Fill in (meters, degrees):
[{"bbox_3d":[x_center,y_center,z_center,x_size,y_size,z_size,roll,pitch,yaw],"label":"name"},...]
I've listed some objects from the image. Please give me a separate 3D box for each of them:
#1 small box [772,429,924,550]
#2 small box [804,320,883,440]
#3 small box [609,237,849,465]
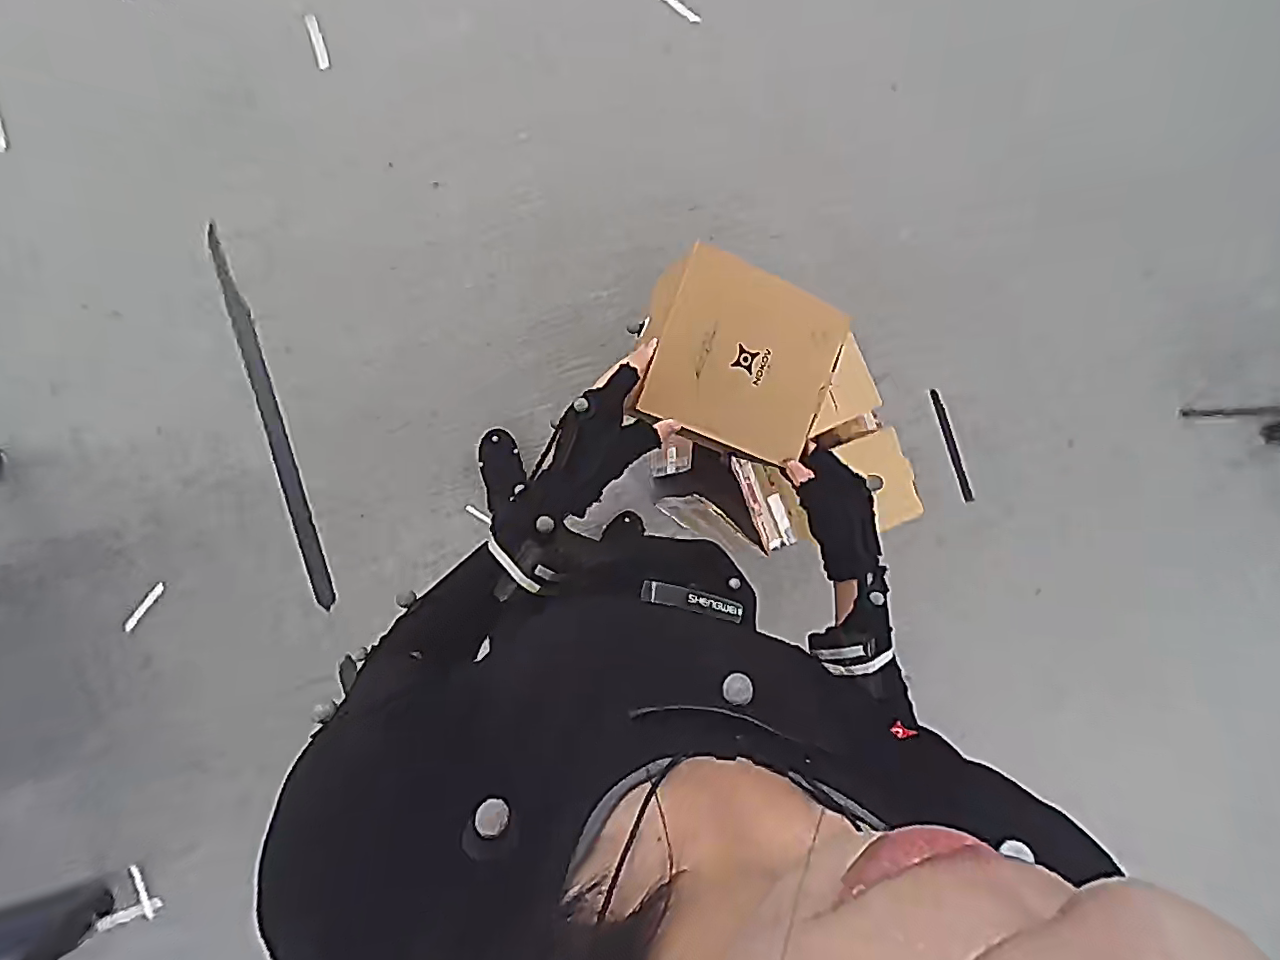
[{"bbox_3d":[0.375,0.015,0.999,0.179,0.176,0.168,-21,92,-9],"label":"small box"},{"bbox_3d":[0.301,-0.169,0.995,0.168,0.176,0.179,-24,90,-9],"label":"small box"},{"bbox_3d":[0.080,-0.126,0.580,0.179,0.176,0.168,18,92,-13],"label":"small box"}]
